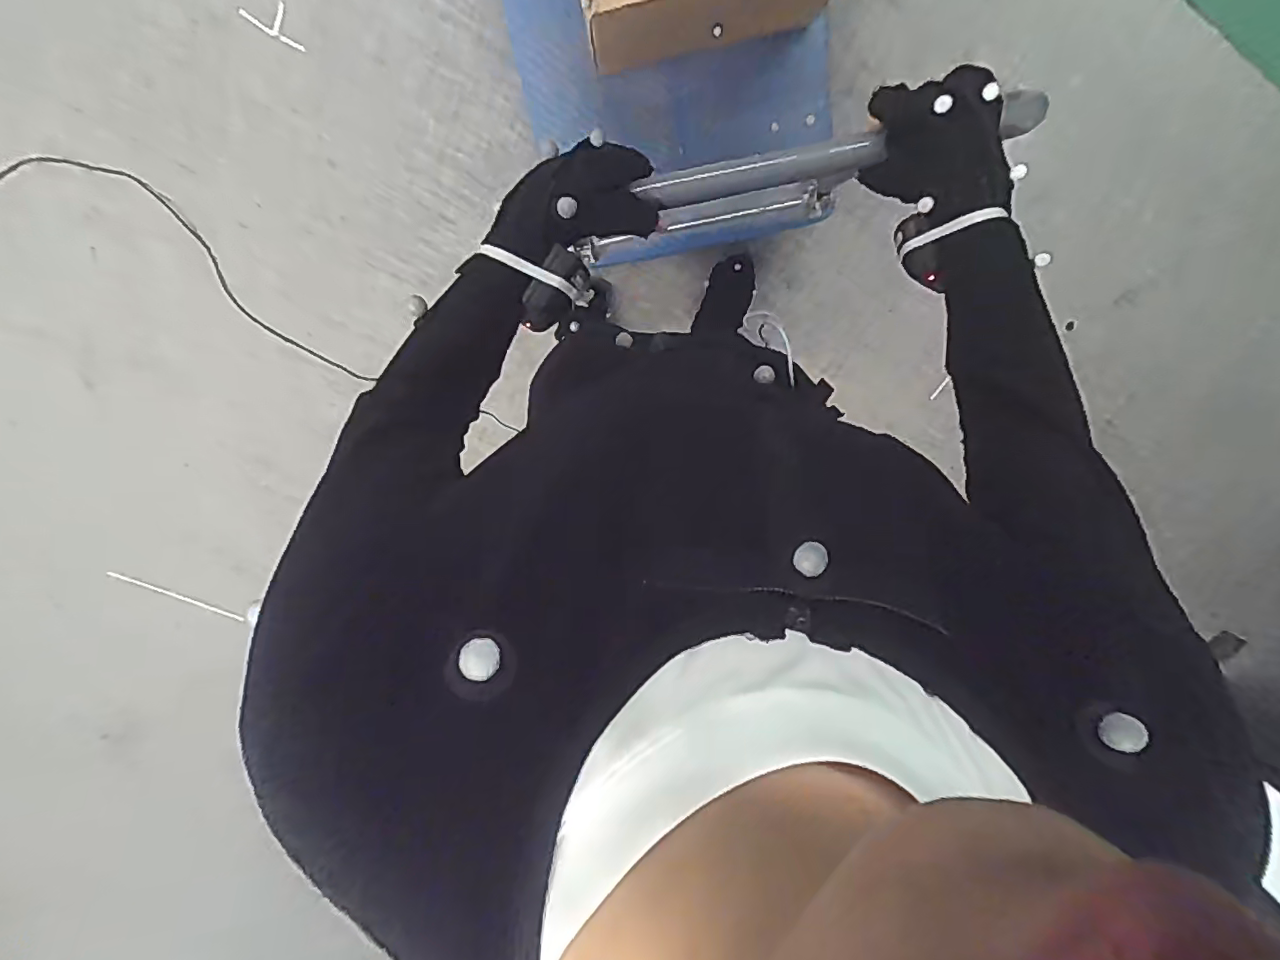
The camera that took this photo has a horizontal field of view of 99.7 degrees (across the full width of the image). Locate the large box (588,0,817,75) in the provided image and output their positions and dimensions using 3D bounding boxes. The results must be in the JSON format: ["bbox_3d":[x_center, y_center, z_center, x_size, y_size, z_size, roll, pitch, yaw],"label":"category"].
[{"bbox_3d":[0.093,-0.889,0.821,0.408,0.320,0.320,-13,113,5],"label":"large box"}]
